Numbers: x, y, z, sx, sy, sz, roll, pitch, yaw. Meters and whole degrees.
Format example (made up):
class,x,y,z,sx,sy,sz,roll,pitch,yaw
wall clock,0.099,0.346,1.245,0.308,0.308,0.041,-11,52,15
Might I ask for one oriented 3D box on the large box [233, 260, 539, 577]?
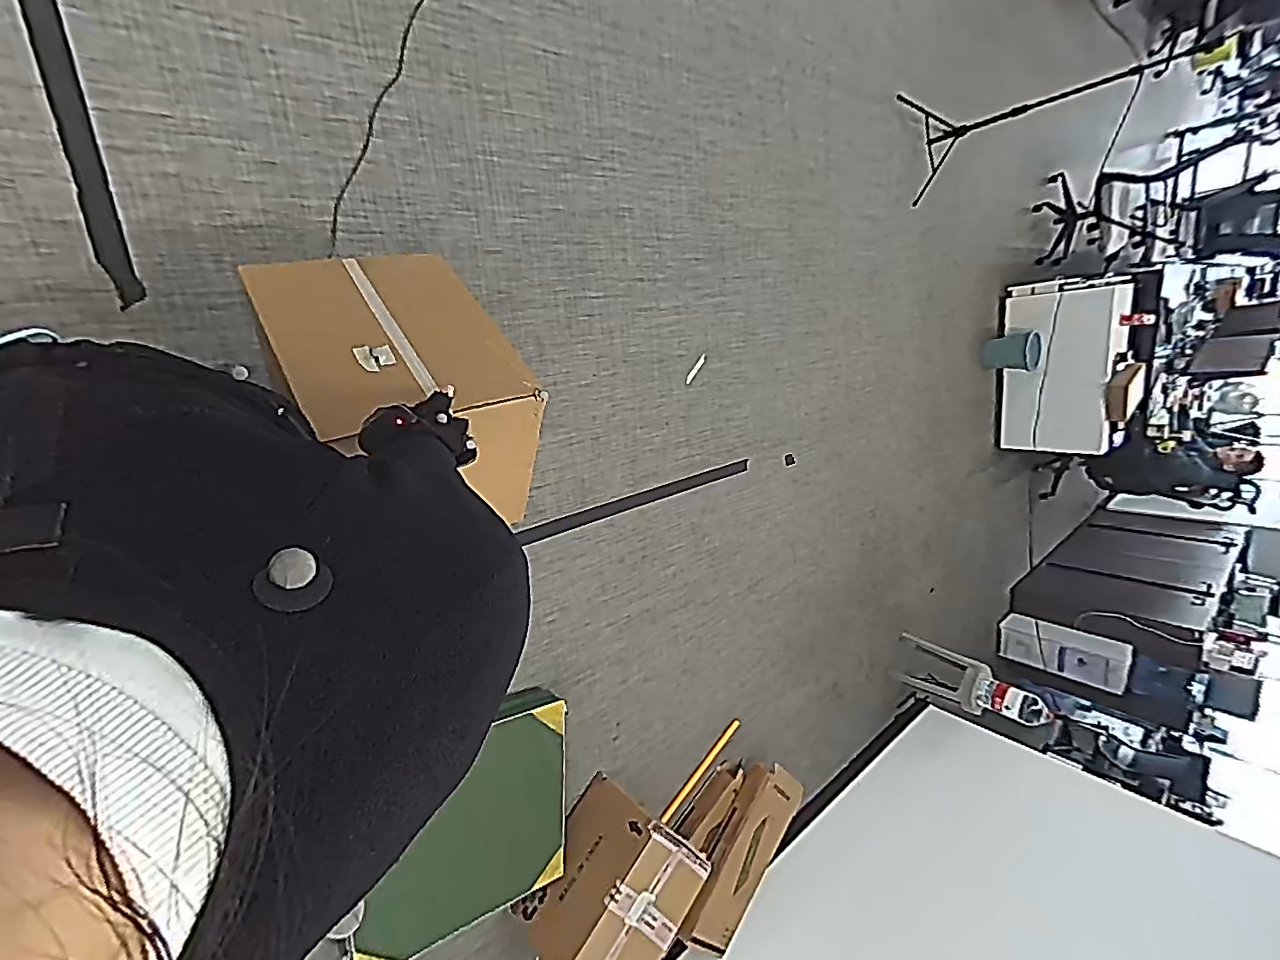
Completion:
class,x,y,z,sx,sy,sz,roll,pitch,yaw
large box,-0.420,-0.119,0.914,0.320,0.408,0.320,-20,150,-32
